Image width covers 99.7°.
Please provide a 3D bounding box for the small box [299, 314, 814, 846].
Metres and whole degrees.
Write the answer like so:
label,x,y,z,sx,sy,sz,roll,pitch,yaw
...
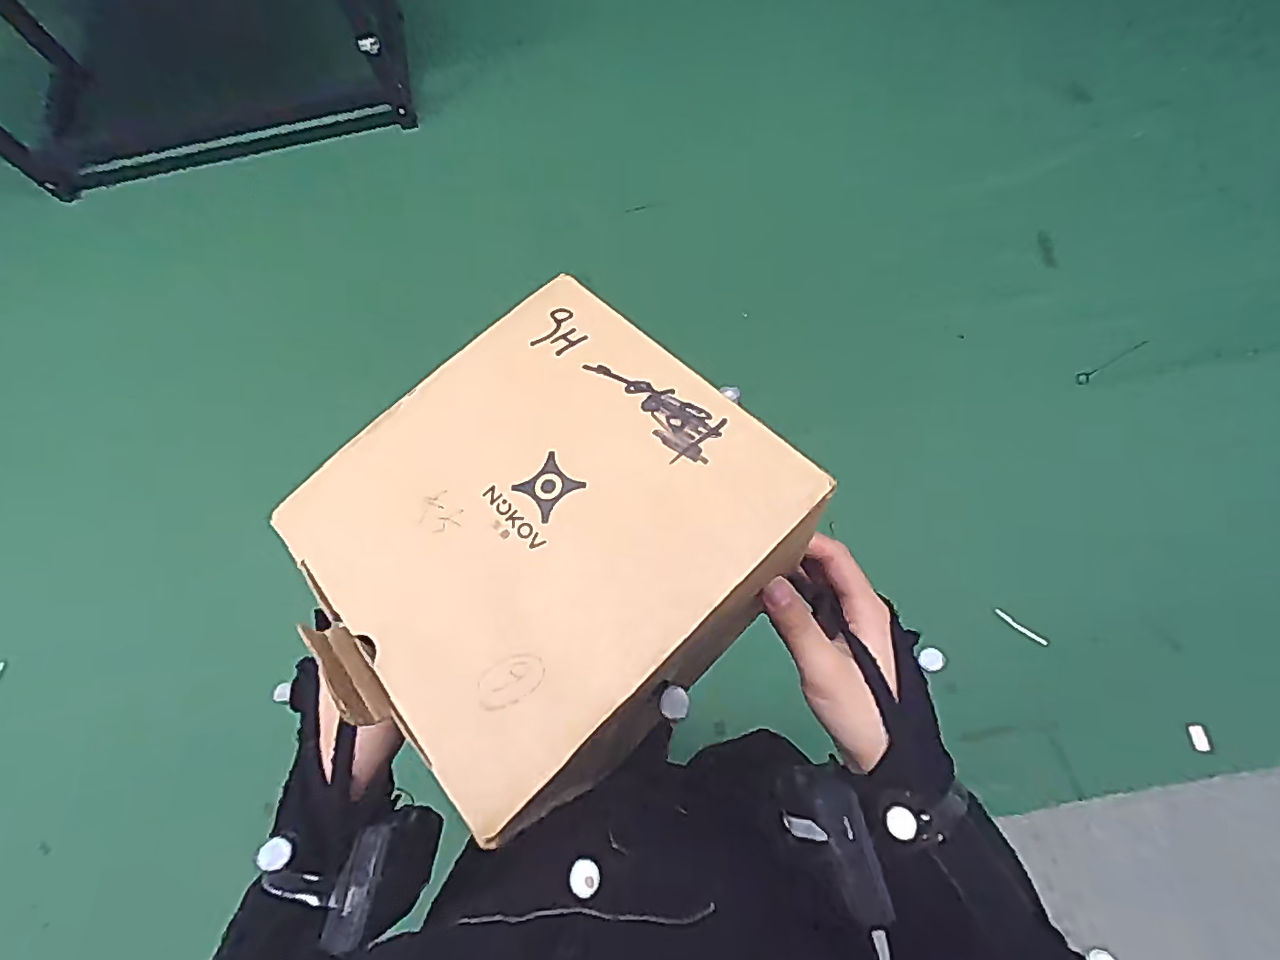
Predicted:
label,x,y,z,sx,sy,sz,roll,pitch,yaw
small box,-0.030,0.053,0.304,0.179,0.176,0.168,-43,67,-11
